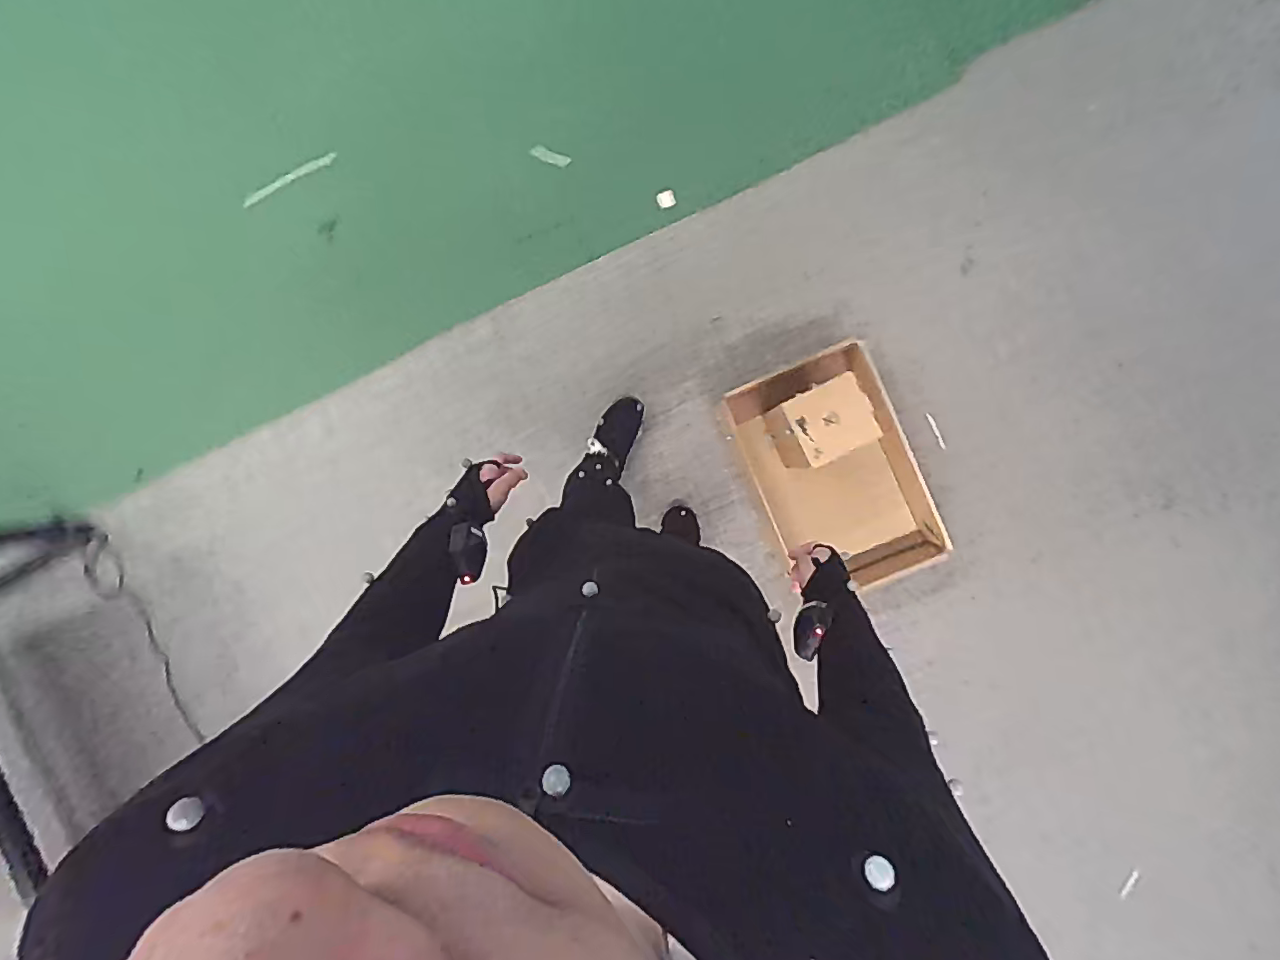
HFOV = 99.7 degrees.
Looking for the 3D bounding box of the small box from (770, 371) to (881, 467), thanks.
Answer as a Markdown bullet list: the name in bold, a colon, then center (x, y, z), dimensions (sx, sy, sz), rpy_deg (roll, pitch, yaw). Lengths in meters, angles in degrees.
- **small box**: center (0.435, -0.142, 1.297), dimensions (0.179, 0.176, 0.168), rpy_deg (-25, 90, 3)
